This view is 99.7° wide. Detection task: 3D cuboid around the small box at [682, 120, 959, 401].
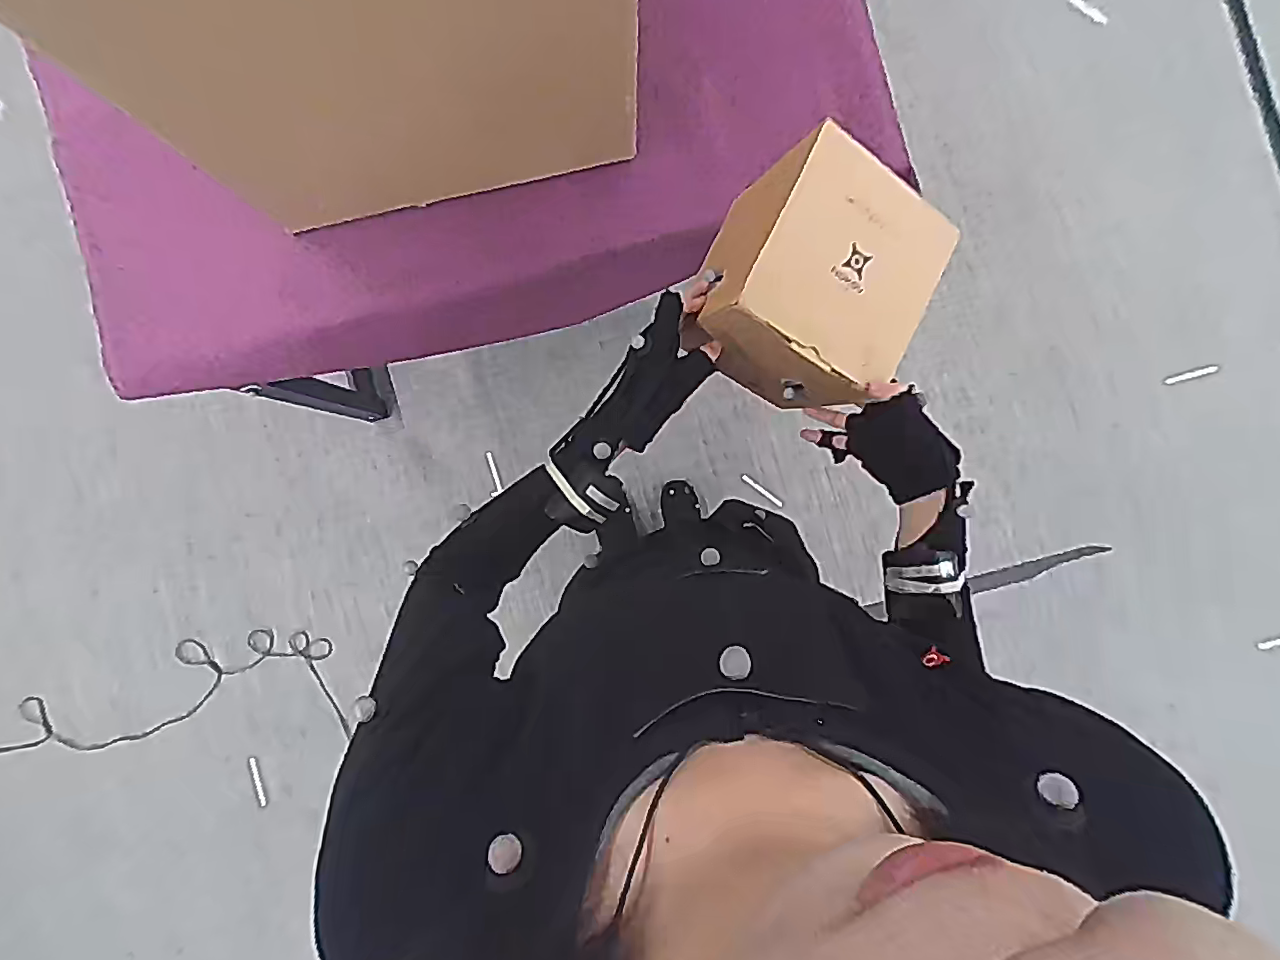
[{"bbox_3d":[0.161,-0.191,0.538,0.168,0.176,0.179,27,86,-18],"label":"small box"}]
